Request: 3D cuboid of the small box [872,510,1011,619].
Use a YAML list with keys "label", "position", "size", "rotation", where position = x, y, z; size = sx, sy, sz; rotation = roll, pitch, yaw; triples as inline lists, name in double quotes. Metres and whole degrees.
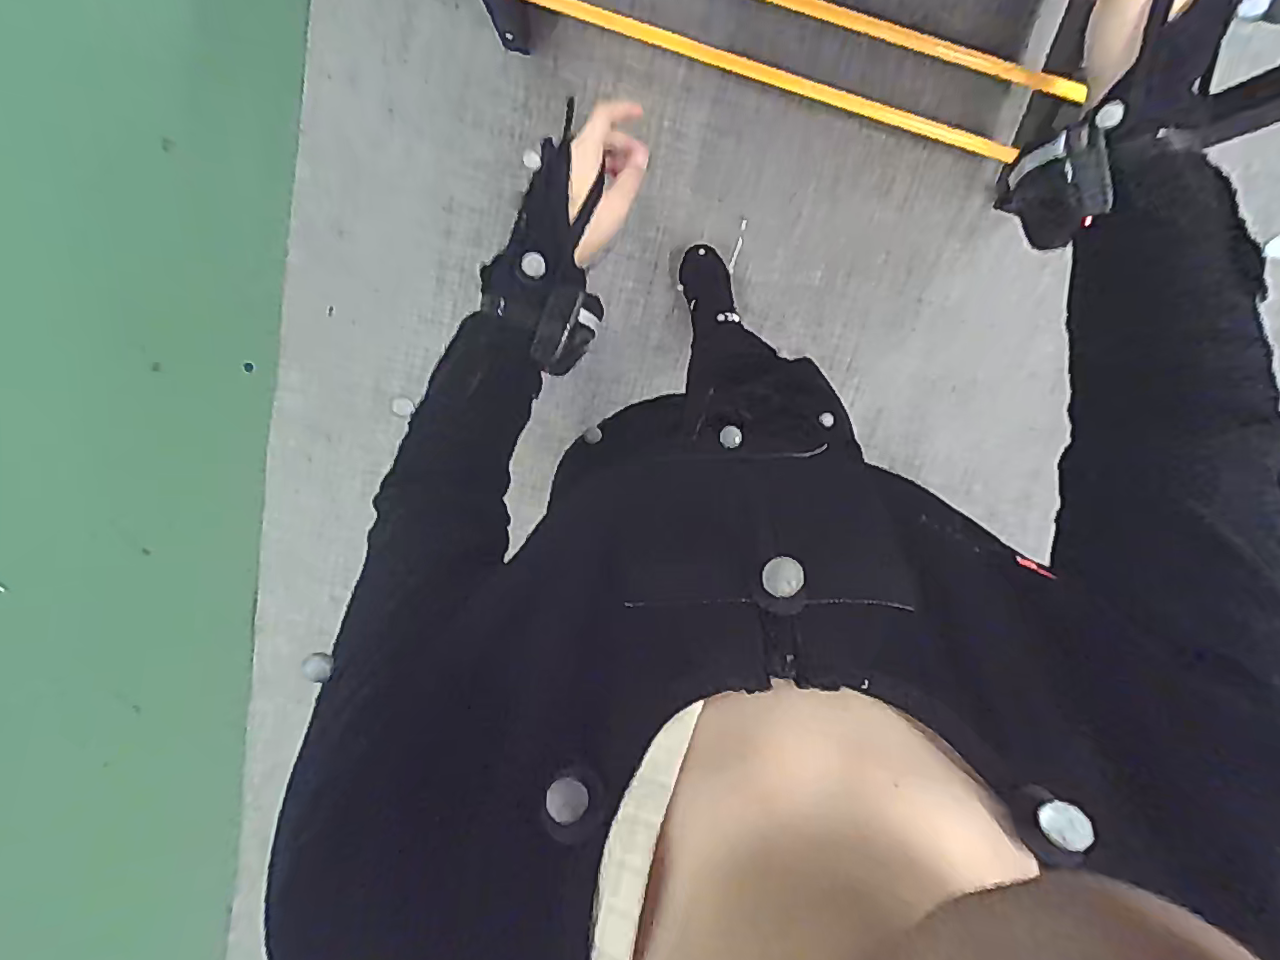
- label: "small box"
  position: [0.627, 0.172, 1.147]
  size: [0.179, 0.176, 0.168]
  rotation: [9, 103, -1]
